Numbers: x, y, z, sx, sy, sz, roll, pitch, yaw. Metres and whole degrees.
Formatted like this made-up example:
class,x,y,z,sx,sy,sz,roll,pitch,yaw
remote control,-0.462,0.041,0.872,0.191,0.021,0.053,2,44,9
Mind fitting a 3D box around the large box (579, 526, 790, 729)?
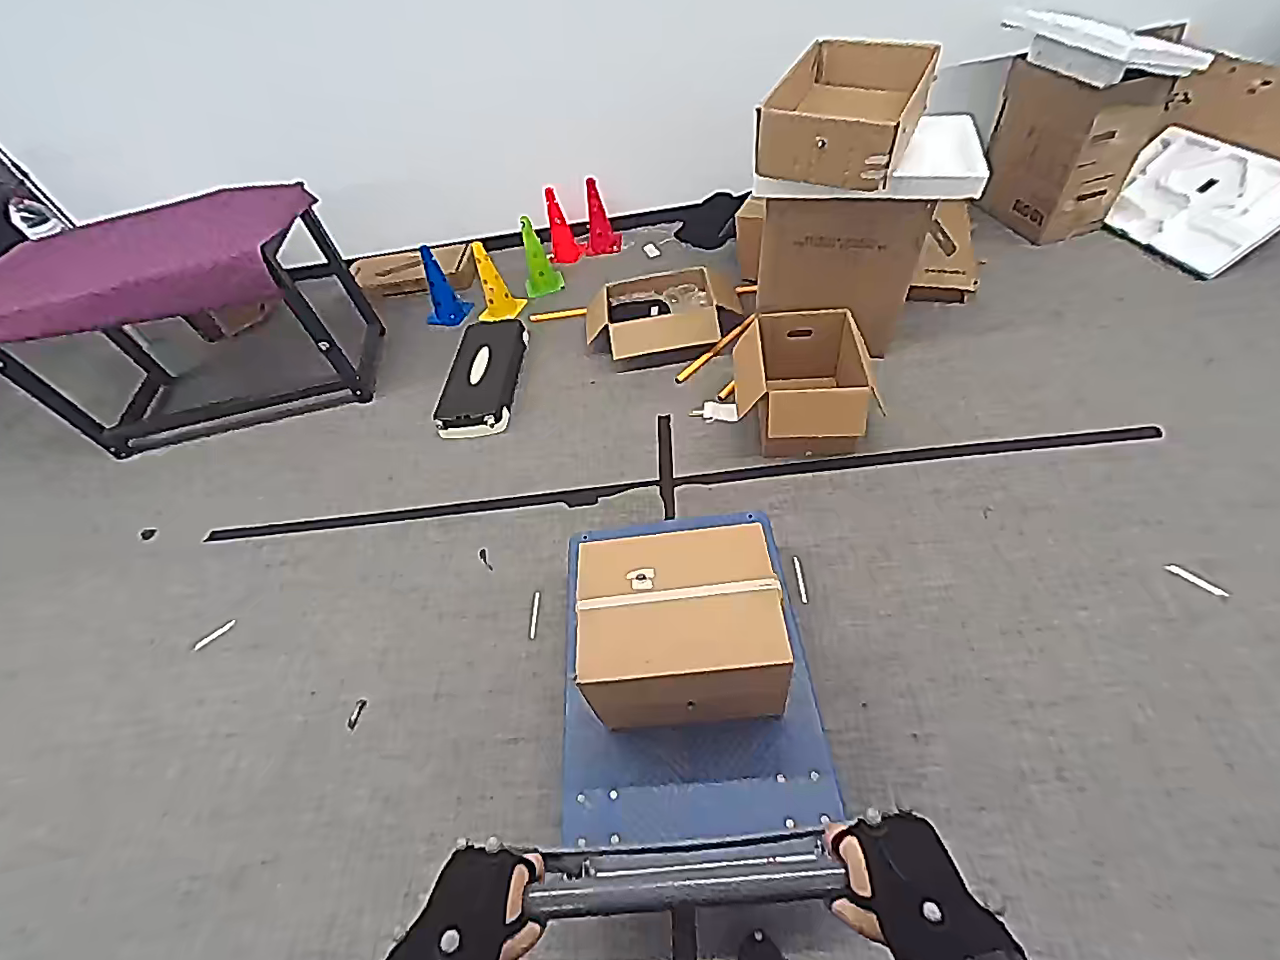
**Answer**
class,x,y,z,sx,sy,sz,roll,pitch,yaw
large box,0.095,0.339,1.213,0.408,0.320,0.320,-8,49,5
